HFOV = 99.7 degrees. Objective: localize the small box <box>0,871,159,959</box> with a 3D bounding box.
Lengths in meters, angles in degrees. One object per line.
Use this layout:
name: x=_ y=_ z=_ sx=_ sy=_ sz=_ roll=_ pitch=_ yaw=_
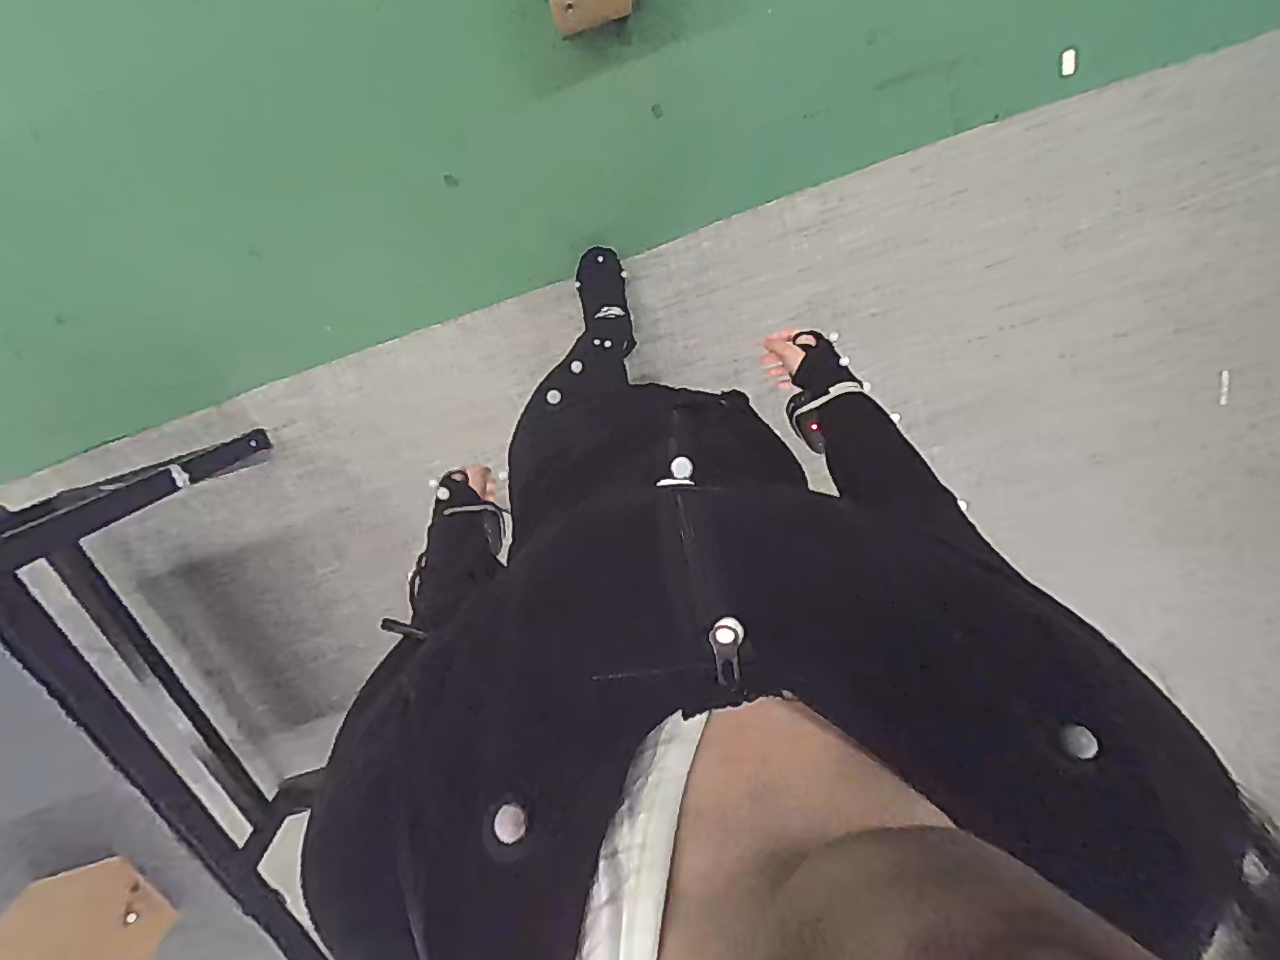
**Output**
small box: x=-0.928 y=0.761 z=0.842 sx=0.179 sy=0.176 sz=0.168 roll=-18 pitch=110 yaw=2
